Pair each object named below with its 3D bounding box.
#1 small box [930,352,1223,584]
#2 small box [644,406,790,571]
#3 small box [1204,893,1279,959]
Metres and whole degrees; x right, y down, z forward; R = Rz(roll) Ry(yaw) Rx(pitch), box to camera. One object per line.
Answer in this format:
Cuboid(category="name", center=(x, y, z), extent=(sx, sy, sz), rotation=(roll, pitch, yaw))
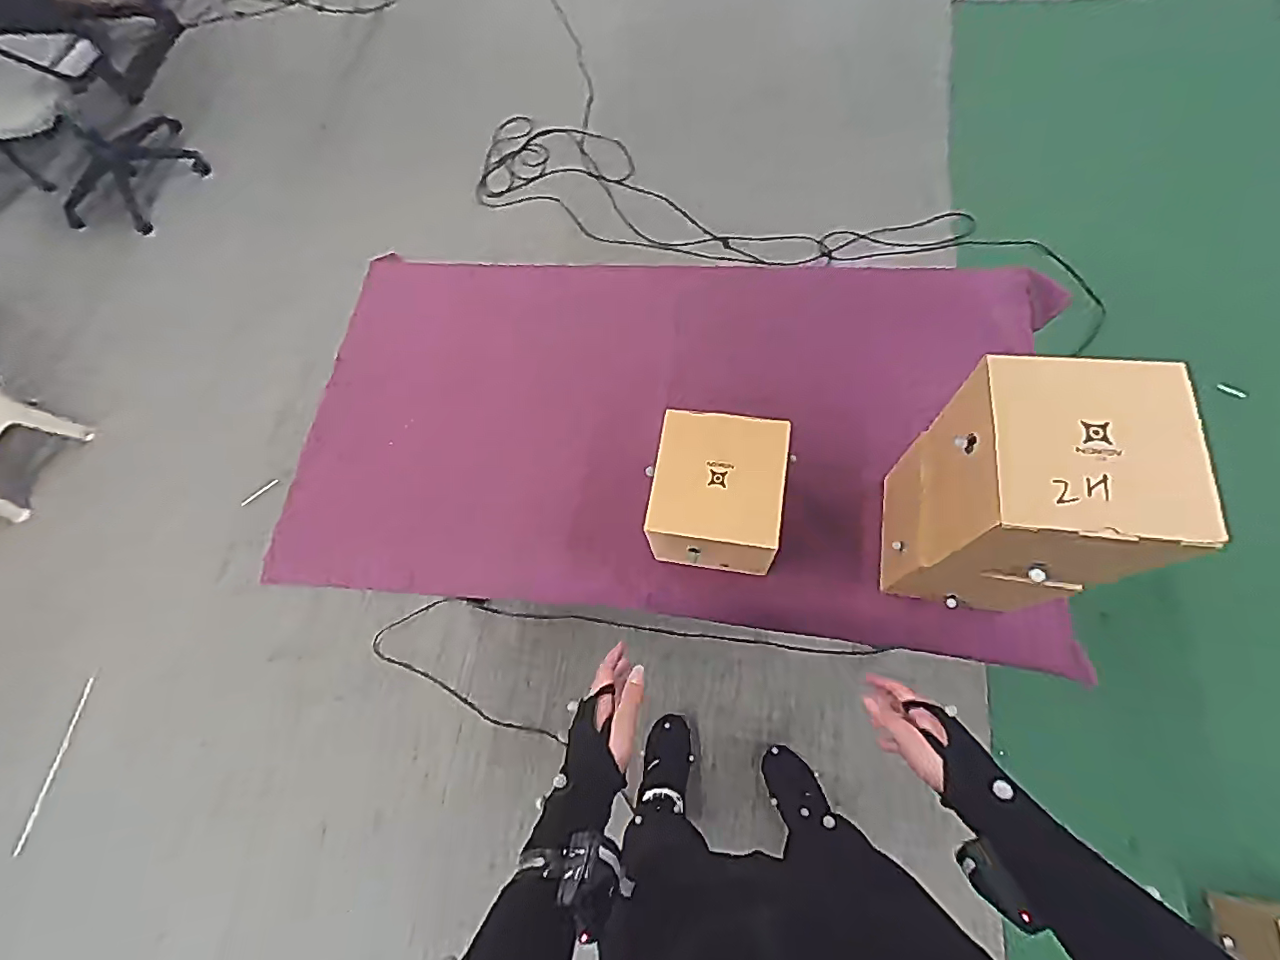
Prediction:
Cuboid(category="small box", center=(0.408, -0.005, 0.546), extent=(0.168, 0.176, 0.179), rotation=(6, 70, 11))
Cuboid(category="small box", center=(0.110, 0.019, 0.758), extent=(0.168, 0.176, 0.179), rotation=(7, 69, 11))
Cuboid(category="small box", center=(1.267, 0.933, 1.041), extent=(0.179, 0.176, 0.168), rotation=(5, 70, 11))
